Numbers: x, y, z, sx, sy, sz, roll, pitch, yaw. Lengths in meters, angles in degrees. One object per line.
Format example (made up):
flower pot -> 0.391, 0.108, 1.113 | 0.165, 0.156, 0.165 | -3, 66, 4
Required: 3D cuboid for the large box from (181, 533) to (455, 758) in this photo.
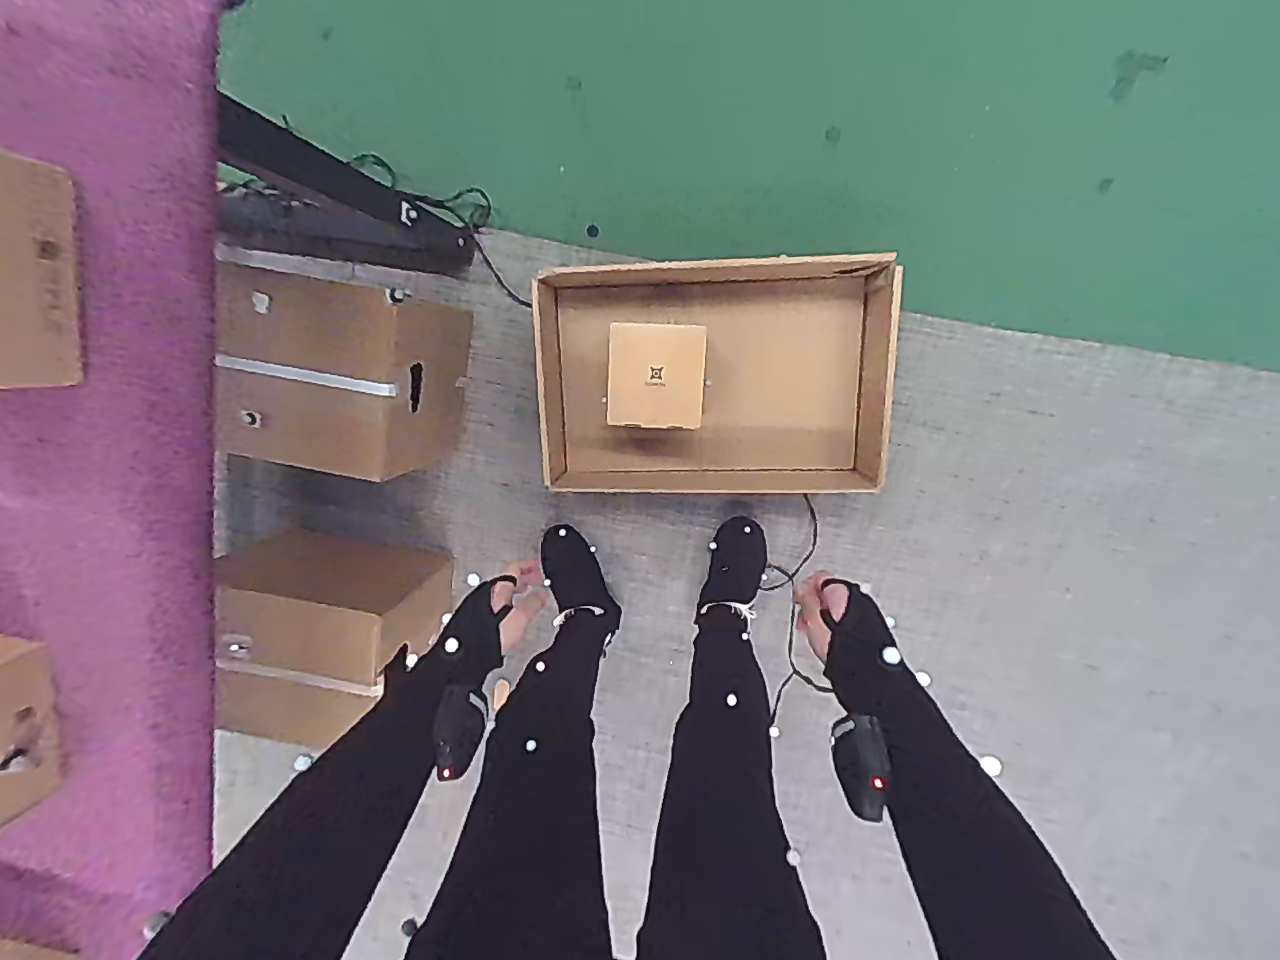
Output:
large box -> -0.653, 0.327, 1.156 | 0.408, 0.320, 0.320 | 9, 101, 5
